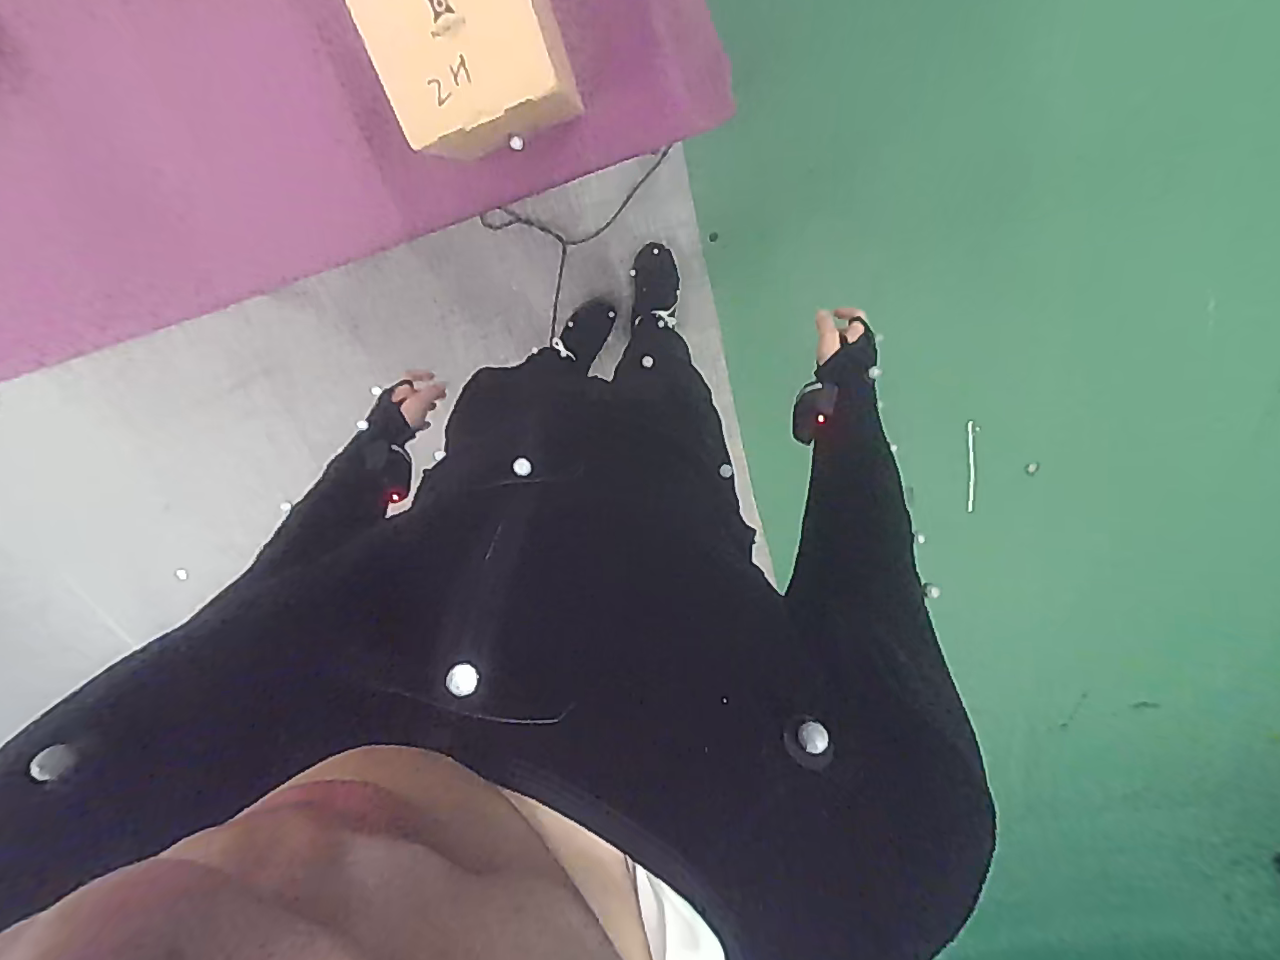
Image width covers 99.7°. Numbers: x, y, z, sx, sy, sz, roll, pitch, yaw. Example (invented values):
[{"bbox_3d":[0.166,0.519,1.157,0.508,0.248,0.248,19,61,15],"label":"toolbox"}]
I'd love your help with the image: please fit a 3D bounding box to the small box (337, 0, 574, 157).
[{"bbox_3d":[-0.183,-0.462,0.563,0.168,0.176,0.179,-15,116,12],"label":"small box"}]
